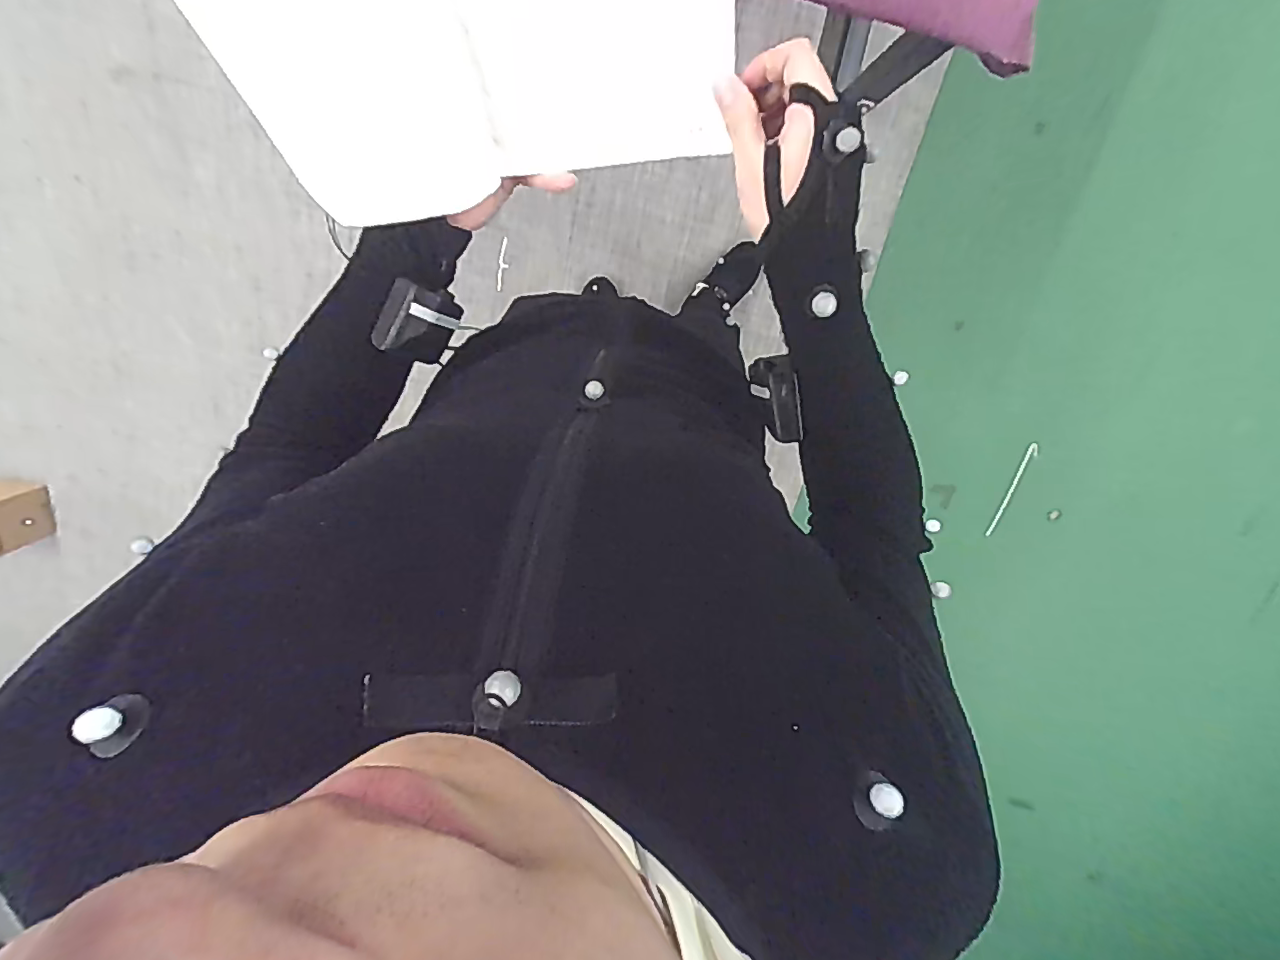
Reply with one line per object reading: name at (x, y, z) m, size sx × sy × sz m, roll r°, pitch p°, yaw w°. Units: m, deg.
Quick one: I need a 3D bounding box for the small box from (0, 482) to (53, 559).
small box at (-1.891, 0.113, 1.587) m, size 0.179 × 0.176 × 0.168 m, roll 8°, pitch 108°, yaw -4°
